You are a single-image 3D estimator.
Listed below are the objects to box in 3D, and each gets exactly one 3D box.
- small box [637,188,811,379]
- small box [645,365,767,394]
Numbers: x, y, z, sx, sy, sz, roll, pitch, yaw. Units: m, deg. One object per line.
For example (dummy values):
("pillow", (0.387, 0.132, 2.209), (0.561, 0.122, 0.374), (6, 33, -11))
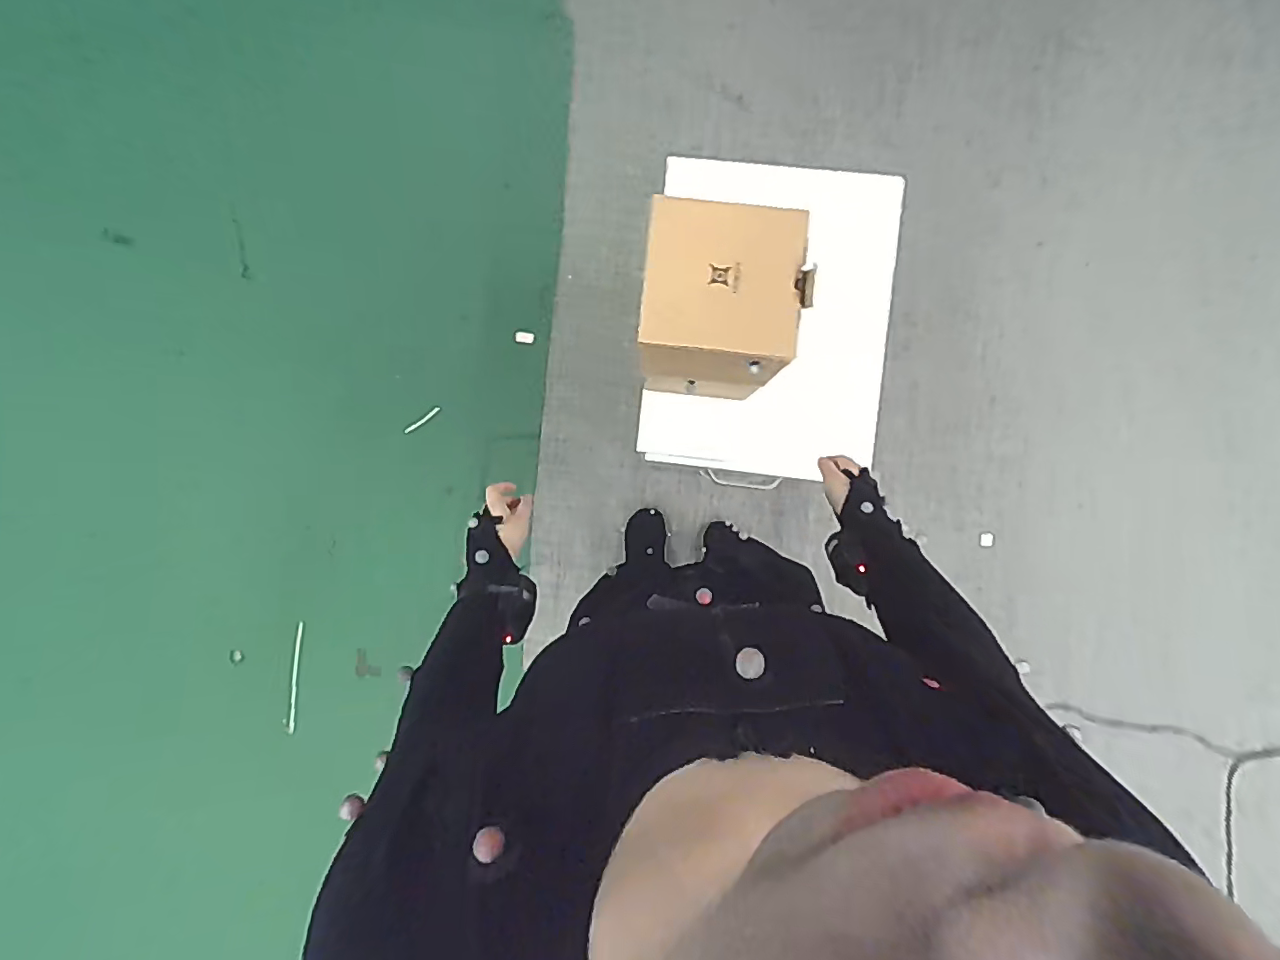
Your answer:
("small box", (0.092, -0.227, 0.666), (0.179, 0.176, 0.168), (6, 89, 0))
("small box", (0.101, -0.232, 0.829), (0.179, 0.176, 0.168), (6, 90, 1))
